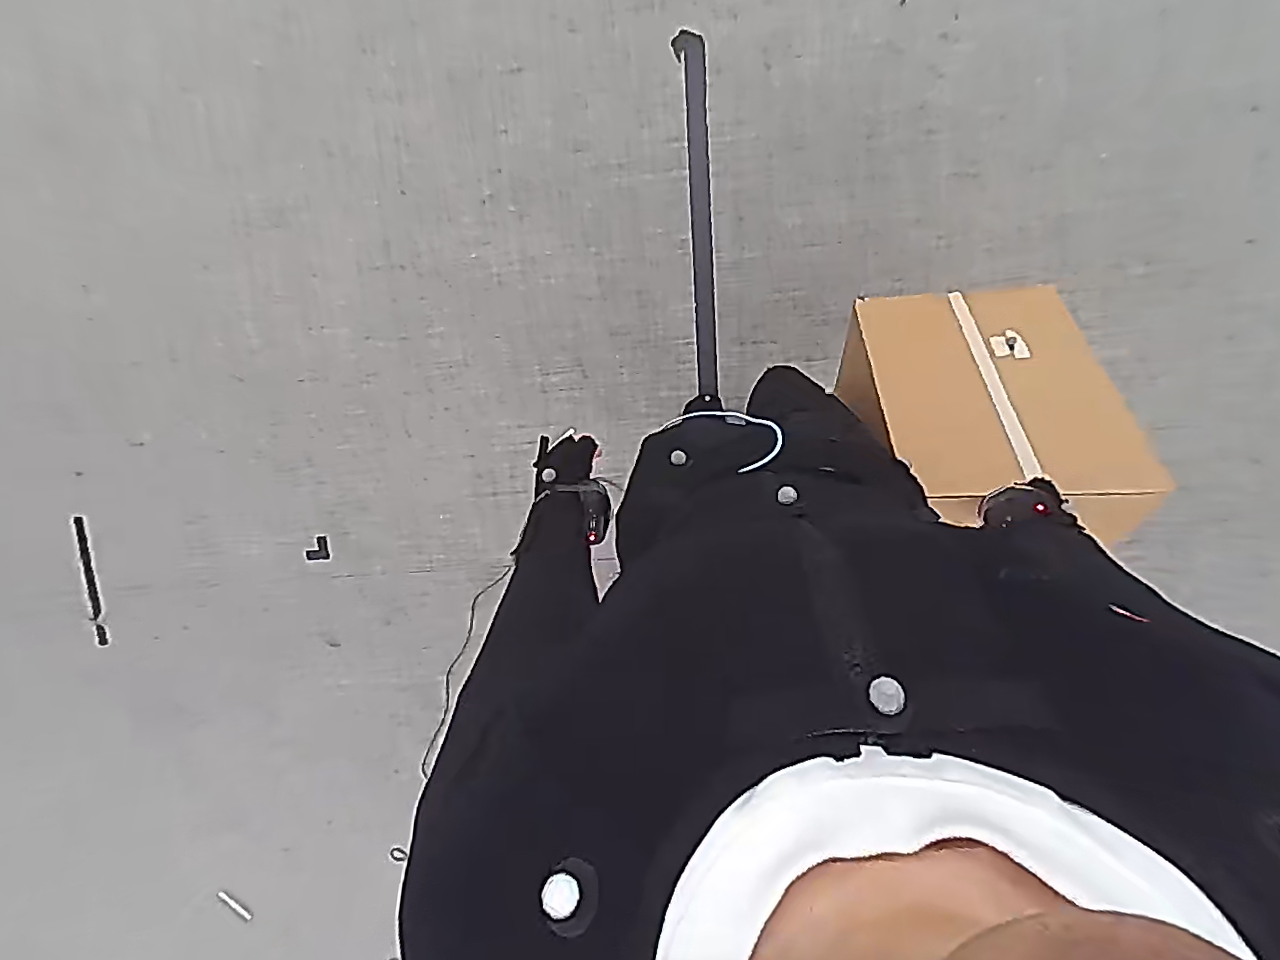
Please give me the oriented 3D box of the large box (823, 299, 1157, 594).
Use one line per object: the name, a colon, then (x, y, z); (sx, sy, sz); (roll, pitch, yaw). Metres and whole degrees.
large box: (0.523, -0.052, 0.927); (0.320, 0.408, 0.320); (-1, 143, 6)
